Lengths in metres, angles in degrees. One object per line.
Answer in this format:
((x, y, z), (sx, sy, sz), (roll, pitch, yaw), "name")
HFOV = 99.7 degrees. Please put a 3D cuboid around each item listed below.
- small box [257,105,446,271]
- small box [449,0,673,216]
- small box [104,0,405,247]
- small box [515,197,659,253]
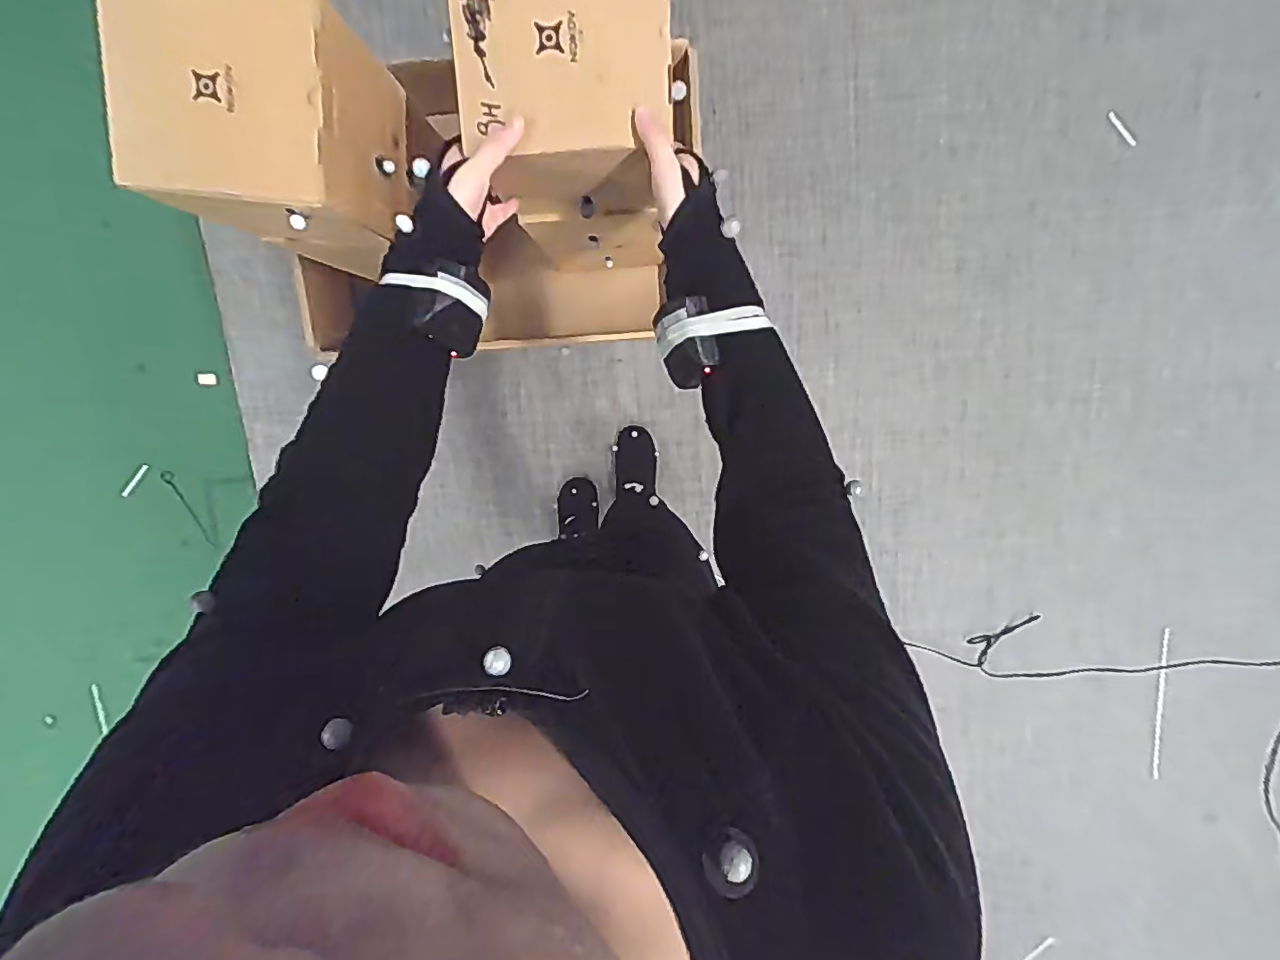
((-0.355, -0.371, 0.684), (0.168, 0.176, 0.179), (2, 100, 0), "small box")
((-0.062, -0.360, 0.508), (0.179, 0.176, 0.168), (-2, 101, 1), "small box")
((-0.352, -0.337, 0.526), (0.179, 0.176, 0.168), (5, 101, -2), "small box")
((-0.060, -0.388, 0.671), (0.168, 0.176, 0.179), (-2, 101, 1), "small box")
